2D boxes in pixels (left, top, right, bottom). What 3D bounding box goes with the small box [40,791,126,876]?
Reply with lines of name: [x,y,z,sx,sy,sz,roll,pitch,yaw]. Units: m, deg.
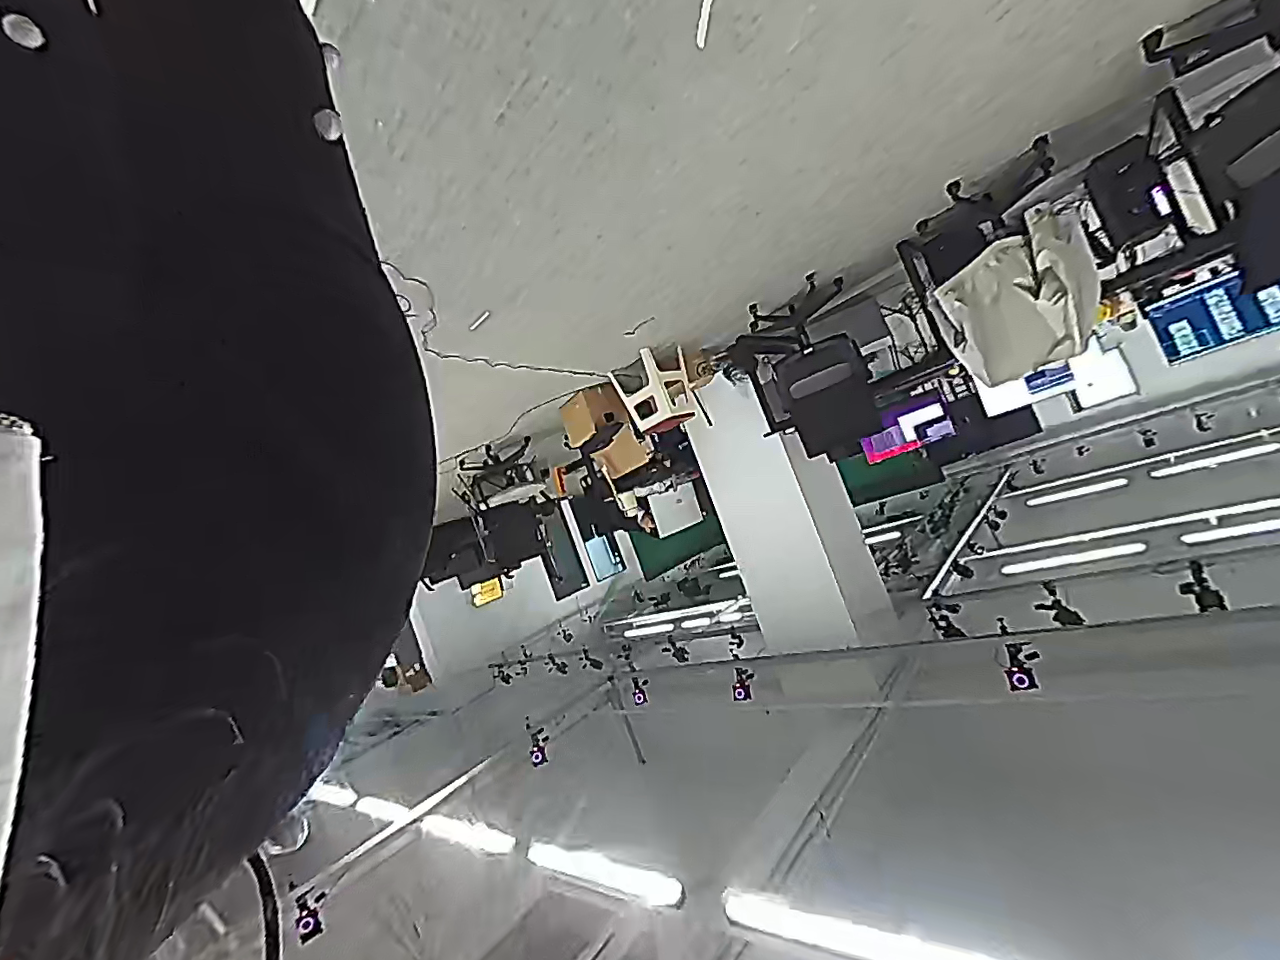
small box: [-1.807,1.146,1.761,0.168,0.176,0.179,-15,176,-43]

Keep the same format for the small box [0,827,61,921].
small box: [-1.765,1.110,1.507,0.168,0.176,0.179,-23,176,44]
